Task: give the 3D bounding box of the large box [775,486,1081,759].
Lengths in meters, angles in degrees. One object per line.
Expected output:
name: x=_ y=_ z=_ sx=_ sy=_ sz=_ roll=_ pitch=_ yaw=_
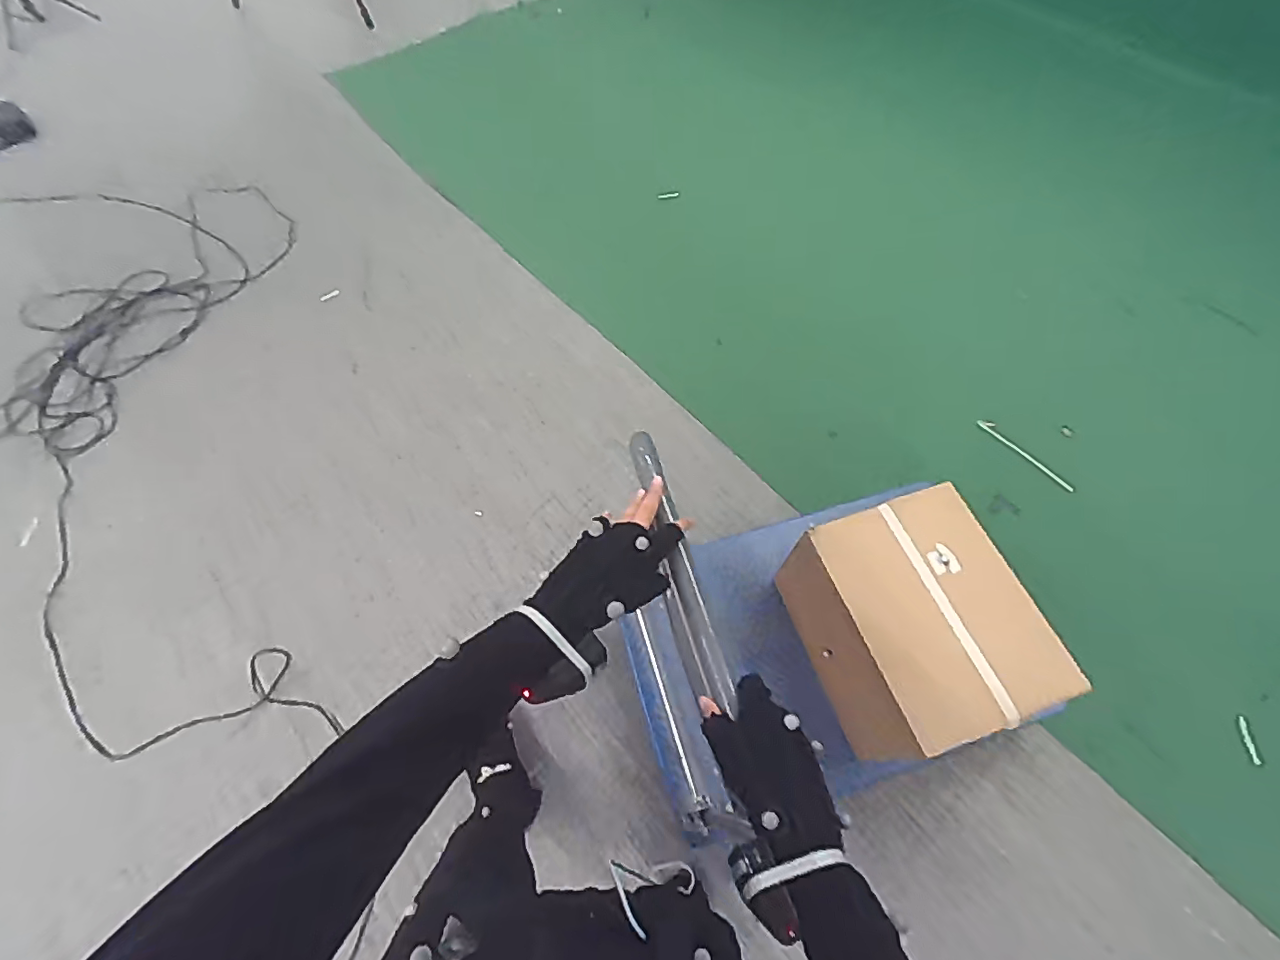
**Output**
large box: x=0.520 y=0.290 z=1.082 sx=0.320 sy=0.320 sz=0.408 roll=-17 pitch=62 yaw=-9
